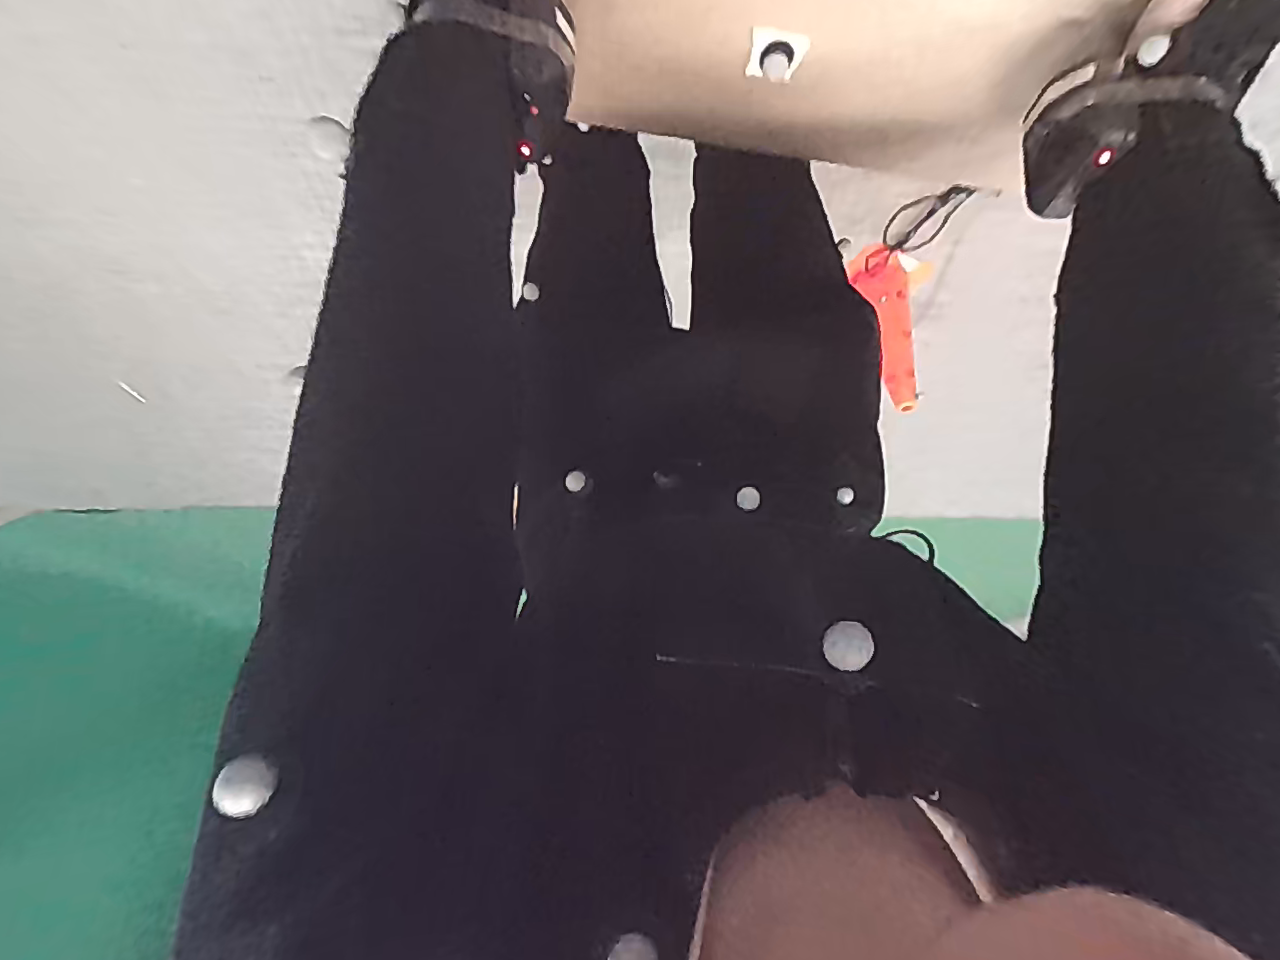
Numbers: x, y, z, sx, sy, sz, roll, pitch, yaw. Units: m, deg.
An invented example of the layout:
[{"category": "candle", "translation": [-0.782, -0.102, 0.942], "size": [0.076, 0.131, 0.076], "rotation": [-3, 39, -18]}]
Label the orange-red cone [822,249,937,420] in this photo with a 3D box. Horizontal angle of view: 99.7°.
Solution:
[{"category": "orange-red cone", "translation": [0.557, -0.292, 1.190], "size": [0.199, 0.360, 0.198], "rotation": [10, 152, -19]}]
